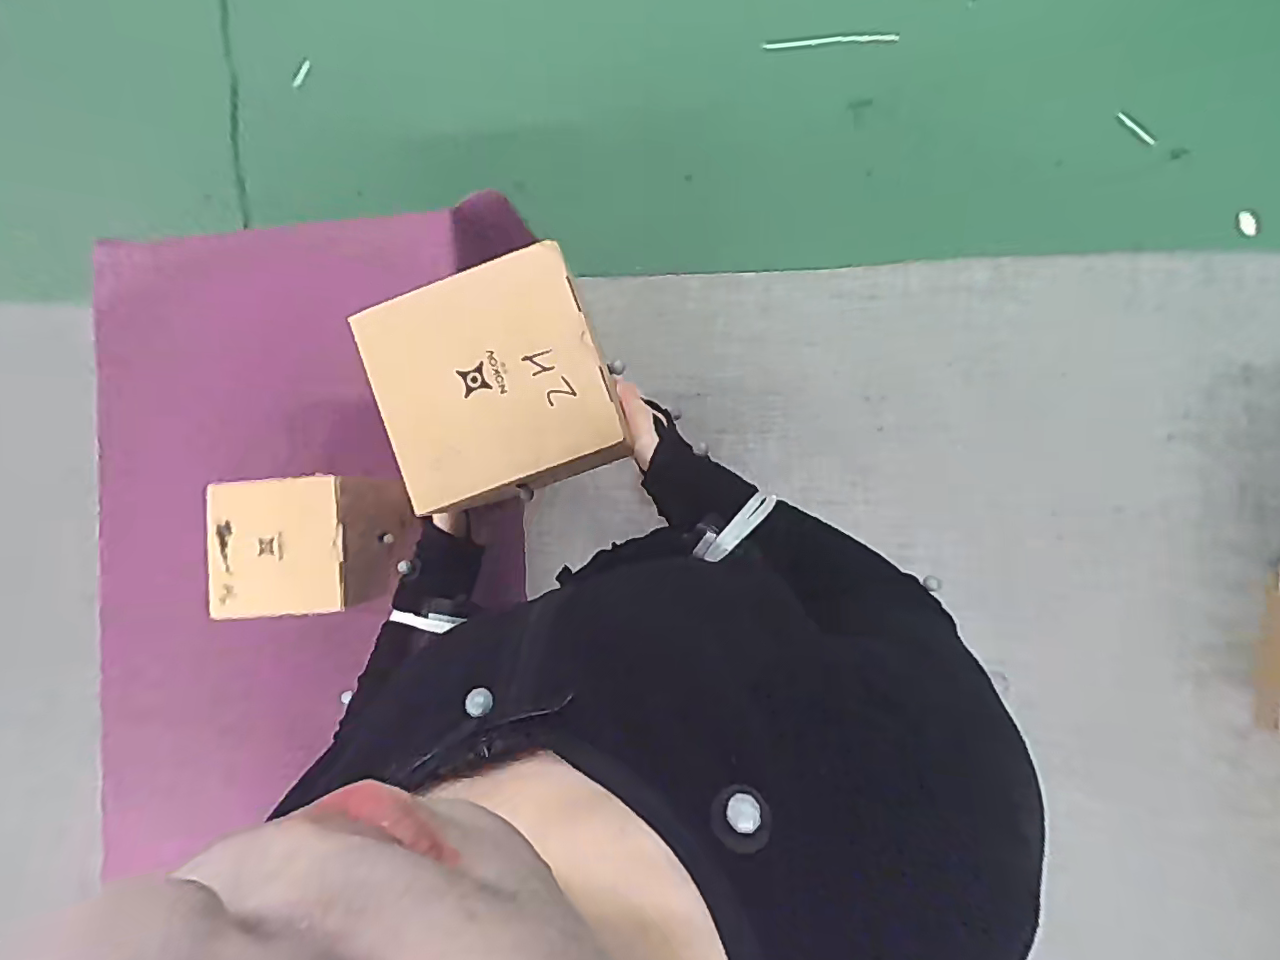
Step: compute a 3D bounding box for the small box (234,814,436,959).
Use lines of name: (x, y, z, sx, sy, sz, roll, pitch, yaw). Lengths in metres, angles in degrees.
small box: (-0.385, 0.570, 0.715, 0.179, 0.176, 0.168, -6, 86, 5)

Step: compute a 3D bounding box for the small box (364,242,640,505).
small box: (-0.107, -0.080, 0.497, 0.179, 0.176, 0.168, -18, 90, 3)

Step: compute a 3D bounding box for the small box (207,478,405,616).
small box: (-0.438, 0.084, 0.738, 0.179, 0.176, 0.168, -4, 87, 4)
